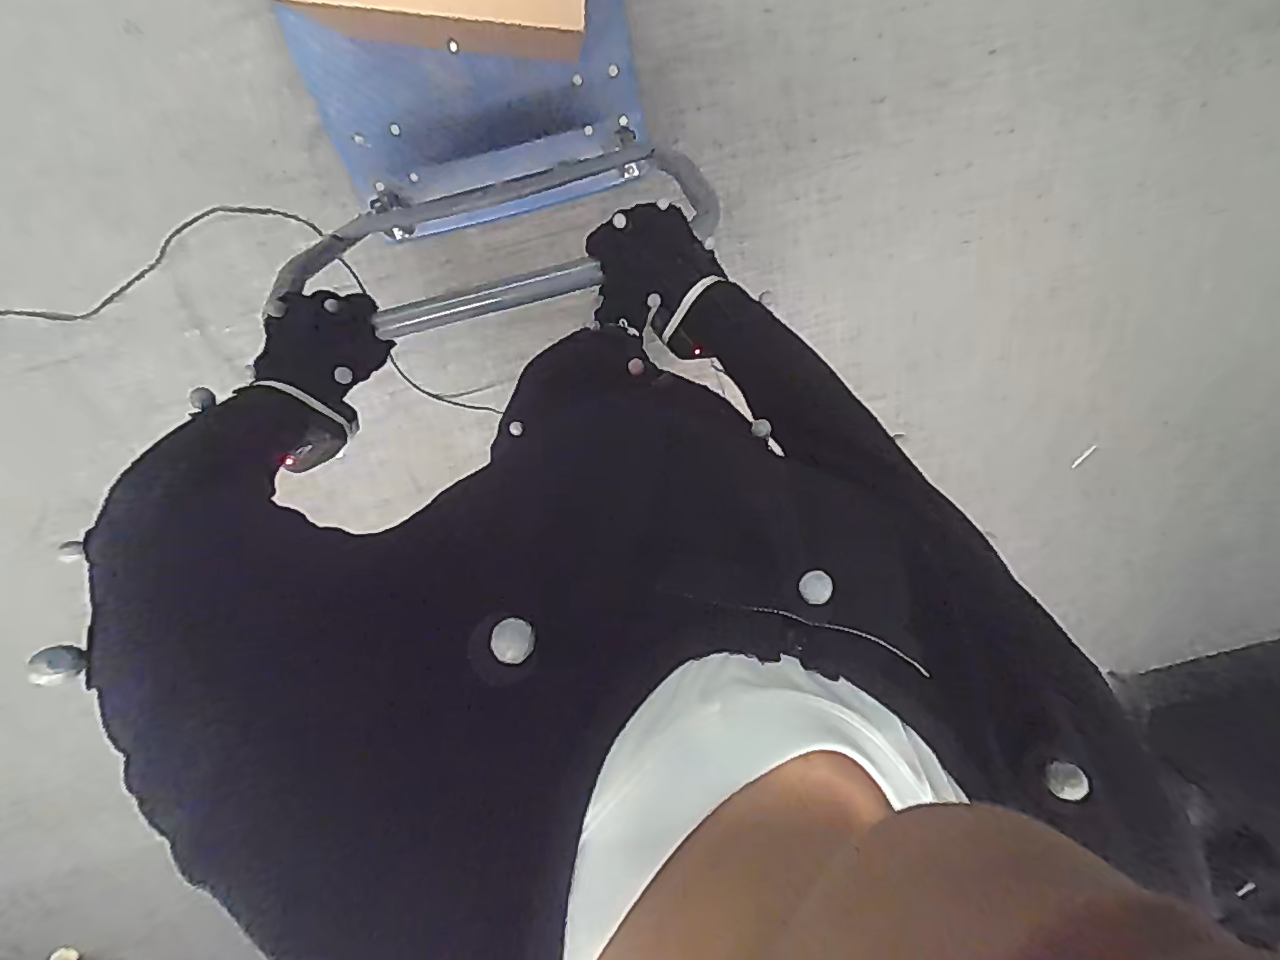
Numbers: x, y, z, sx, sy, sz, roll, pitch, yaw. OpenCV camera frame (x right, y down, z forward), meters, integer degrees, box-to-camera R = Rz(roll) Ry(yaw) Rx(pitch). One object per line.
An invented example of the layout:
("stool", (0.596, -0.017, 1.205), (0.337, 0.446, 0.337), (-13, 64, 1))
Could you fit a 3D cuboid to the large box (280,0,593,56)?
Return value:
("large box", (-0.272, -0.816, 0.761), (0.408, 0.320, 0.320), (0, 121, -7))
